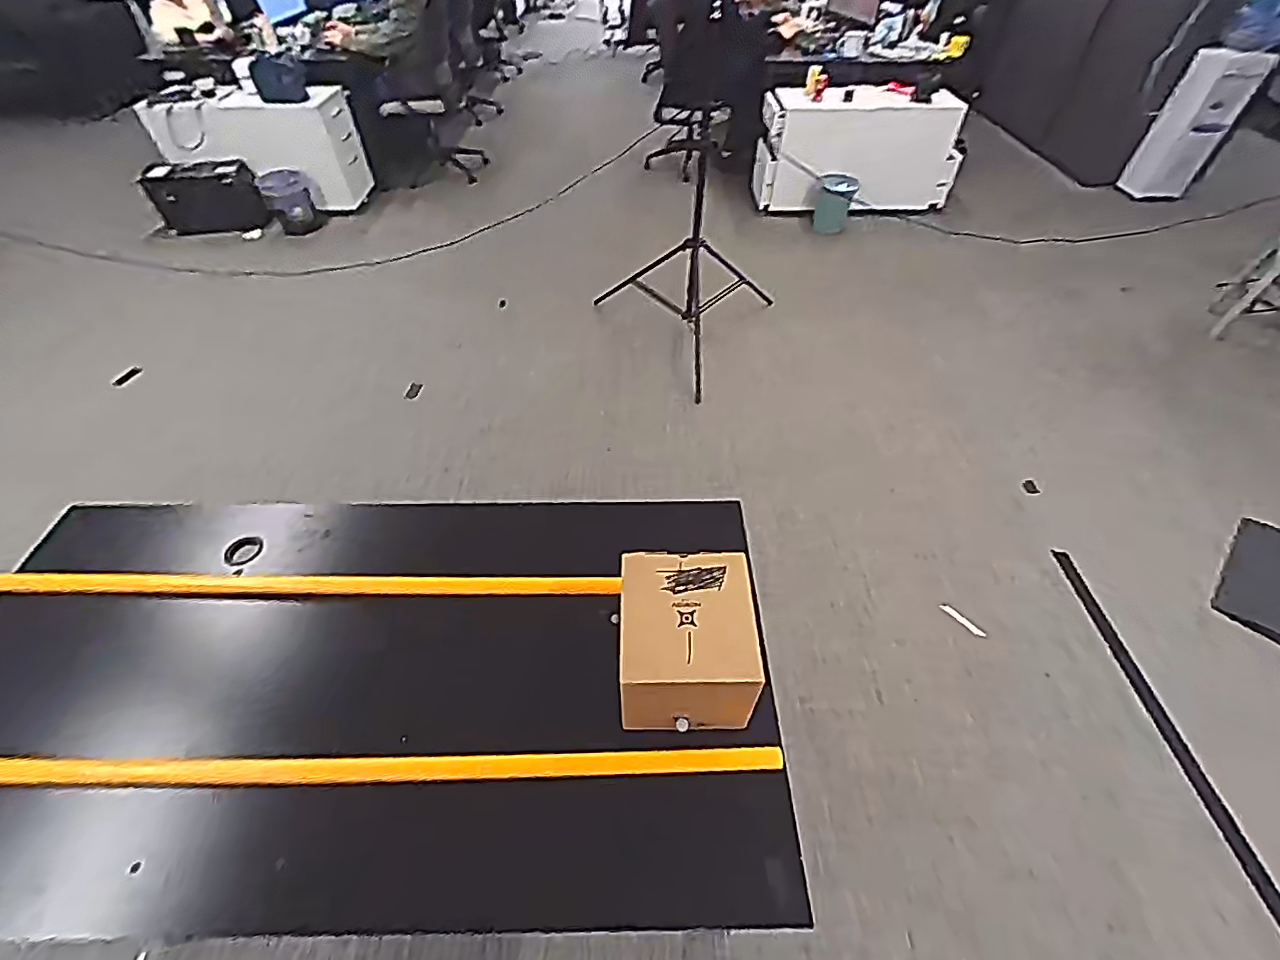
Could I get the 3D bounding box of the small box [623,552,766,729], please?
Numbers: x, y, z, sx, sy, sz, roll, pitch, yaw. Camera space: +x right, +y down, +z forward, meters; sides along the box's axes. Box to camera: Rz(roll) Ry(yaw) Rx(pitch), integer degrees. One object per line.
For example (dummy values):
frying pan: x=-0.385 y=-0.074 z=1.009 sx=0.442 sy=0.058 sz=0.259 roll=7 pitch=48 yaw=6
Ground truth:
small box: x=0.063 y=0.215 z=0.725 sx=0.168 sy=0.176 sz=0.179 roll=0 pitch=49 yaw=1
